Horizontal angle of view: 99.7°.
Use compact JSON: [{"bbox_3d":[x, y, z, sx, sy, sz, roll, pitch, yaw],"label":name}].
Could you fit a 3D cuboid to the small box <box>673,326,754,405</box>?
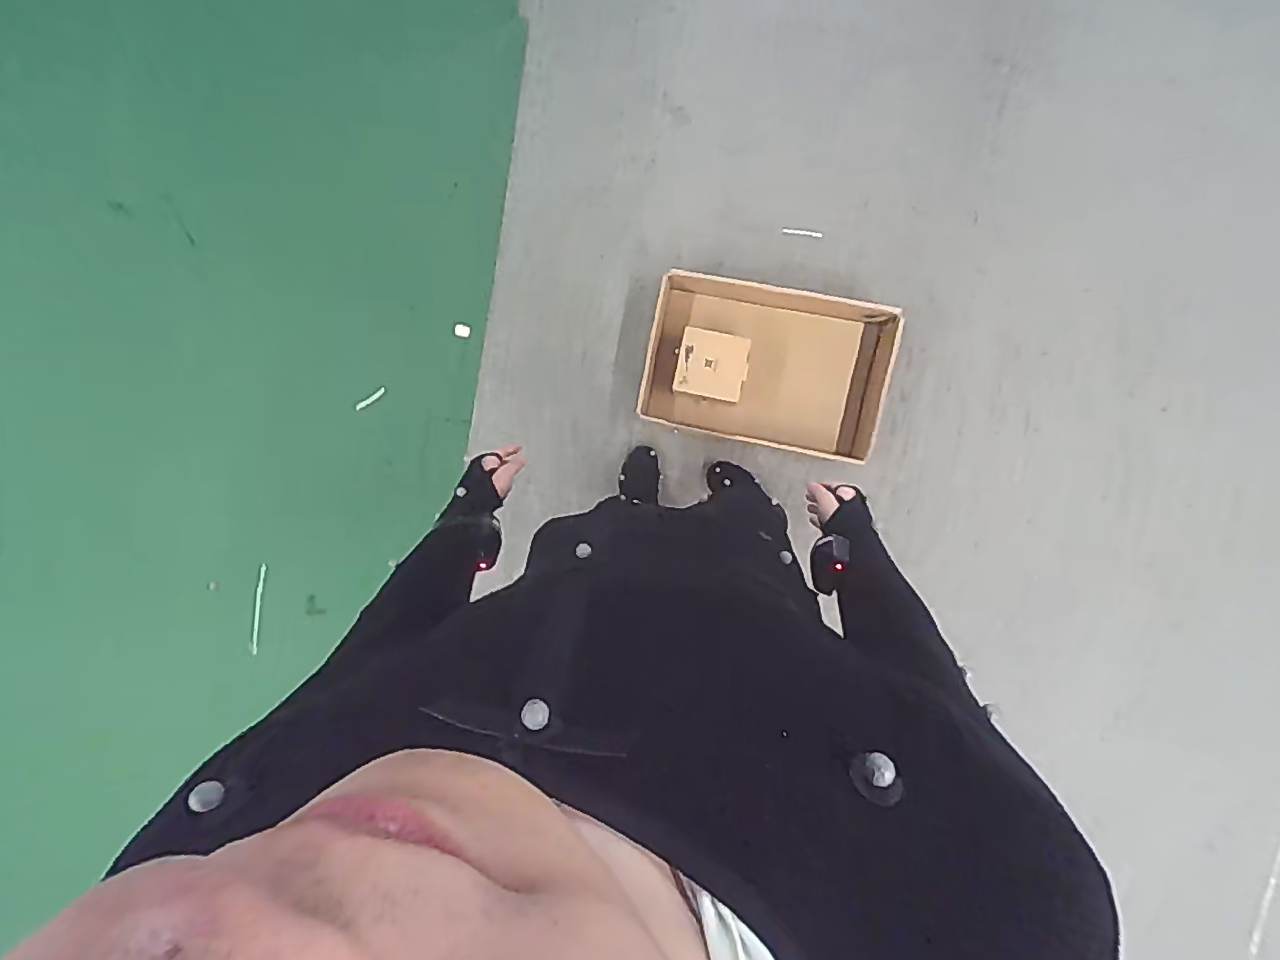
[{"bbox_3d":[0.192,-0.300,1.445,0.179,0.176,0.168,13,95,3],"label":"small box"}]
